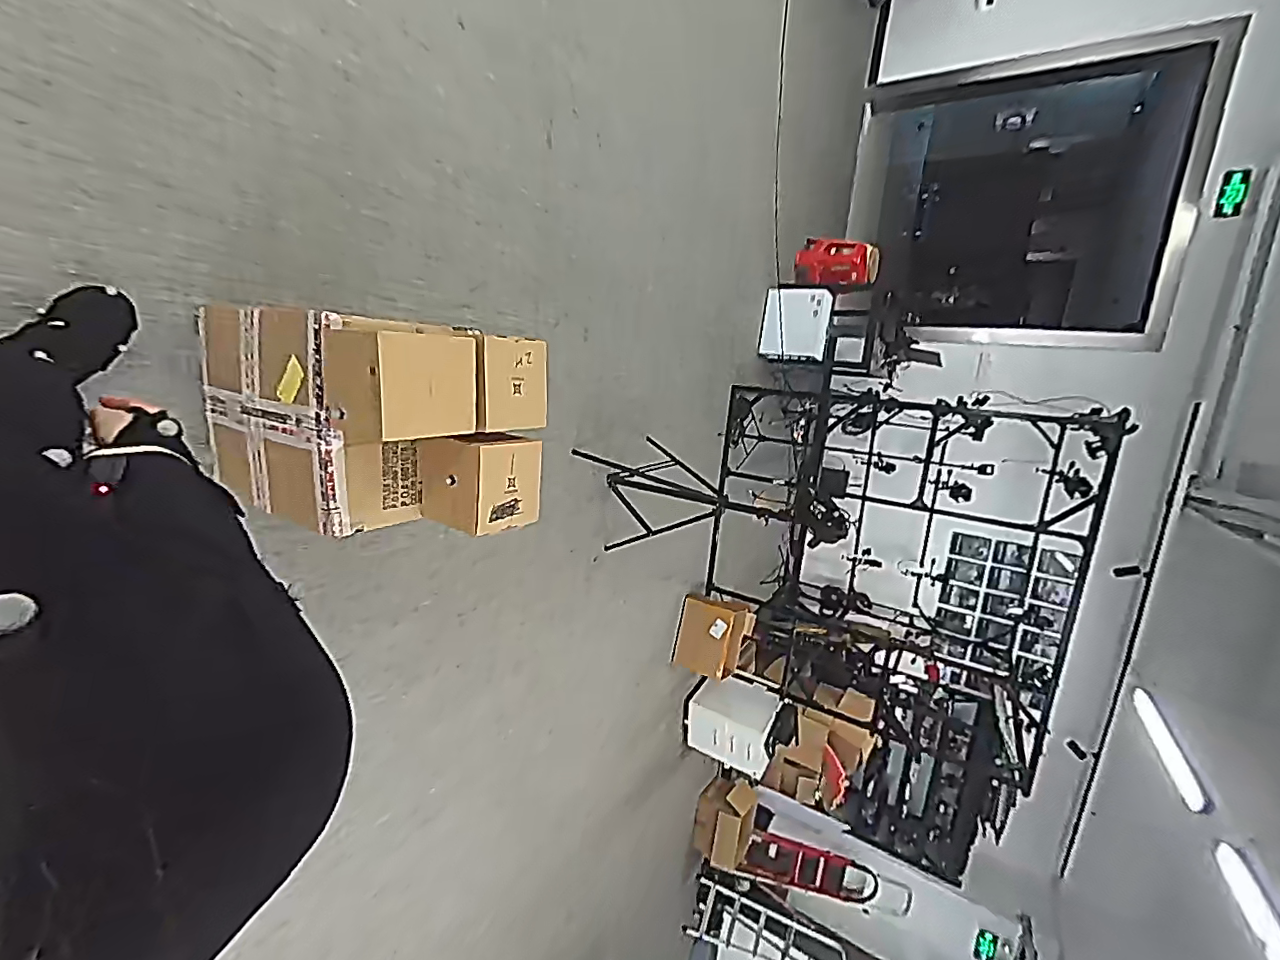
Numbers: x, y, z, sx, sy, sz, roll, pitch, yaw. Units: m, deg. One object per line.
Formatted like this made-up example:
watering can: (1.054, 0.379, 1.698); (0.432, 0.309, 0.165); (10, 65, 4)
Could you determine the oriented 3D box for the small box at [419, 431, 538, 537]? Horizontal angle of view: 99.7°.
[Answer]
small box: (-0.331, 0.000, 1.104); (0.168, 0.176, 0.179); (-11, 111, -56)
